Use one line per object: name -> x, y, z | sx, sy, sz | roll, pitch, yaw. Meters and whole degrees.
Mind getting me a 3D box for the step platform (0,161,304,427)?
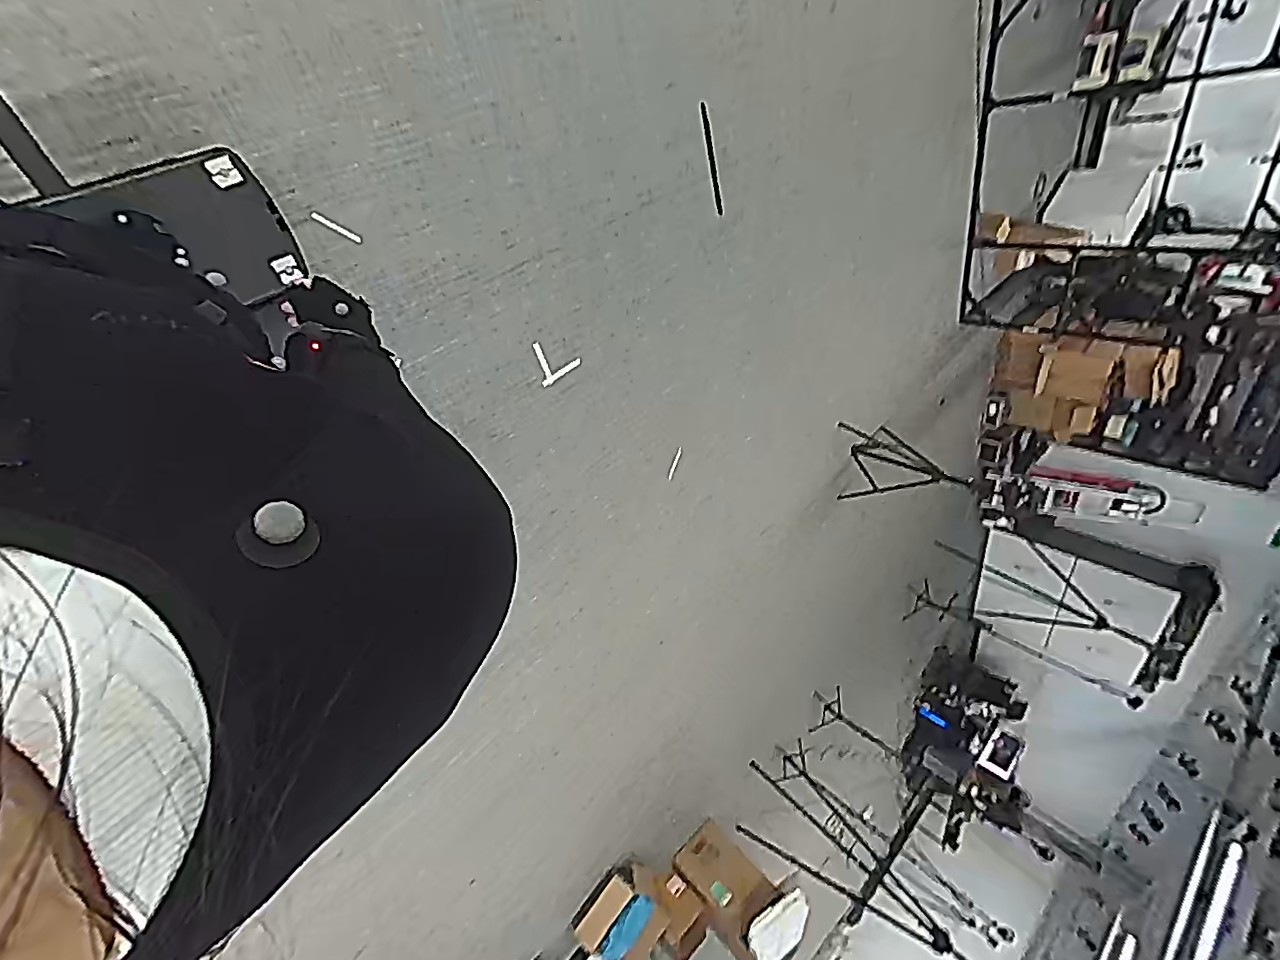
step platform -> -1.066, -0.381, 1.074 | 0.684, 0.204, 0.286 | -40, 132, -25
